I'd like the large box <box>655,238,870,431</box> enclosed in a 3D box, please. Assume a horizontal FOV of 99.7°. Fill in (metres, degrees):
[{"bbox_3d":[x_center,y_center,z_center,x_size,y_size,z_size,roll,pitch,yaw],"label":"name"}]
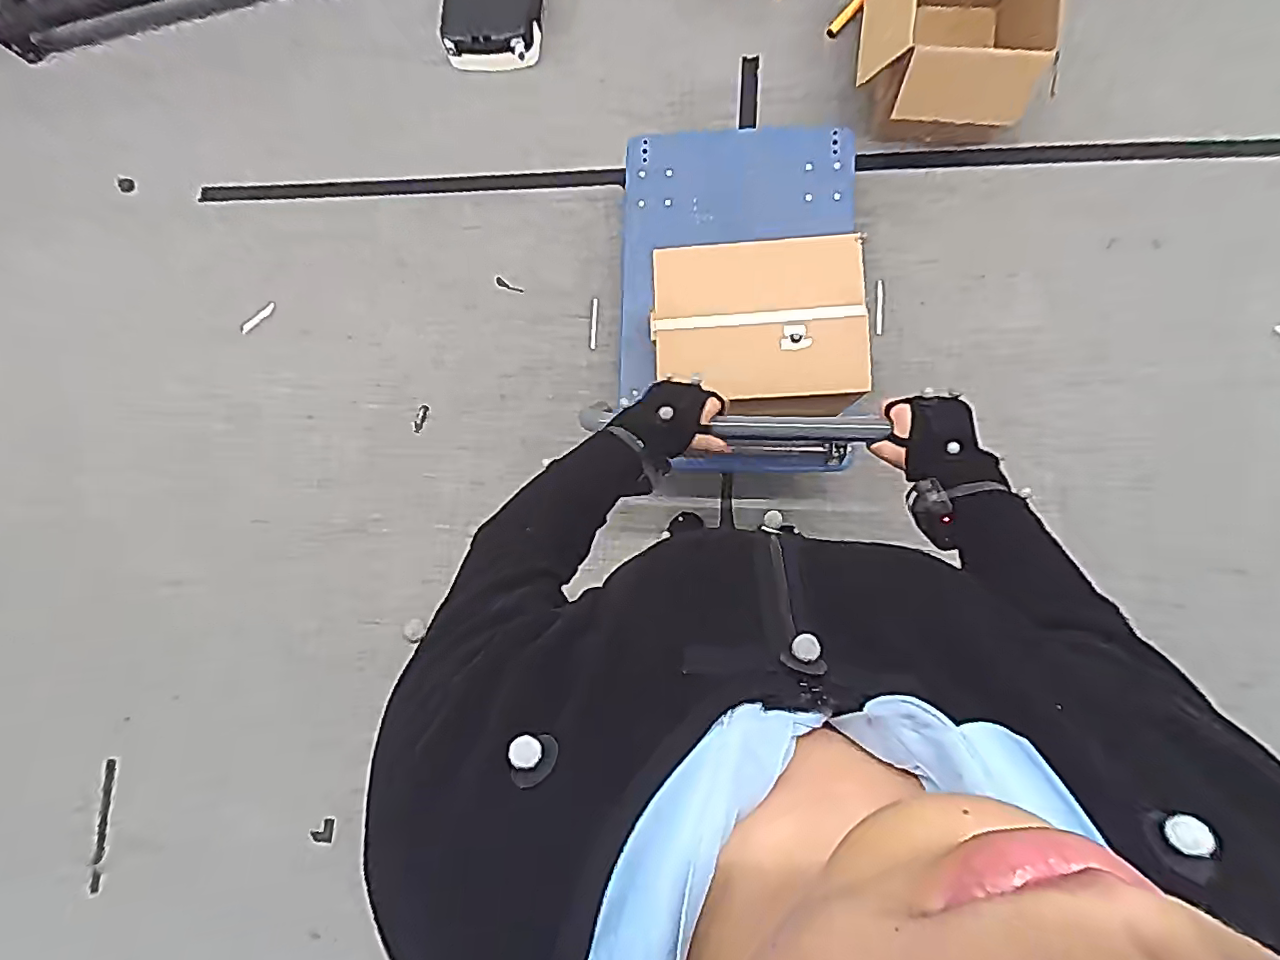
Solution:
[{"bbox_3d":[0.247,-0.296,1.204,0.408,0.320,0.320,-3,86,5],"label":"large box"}]
